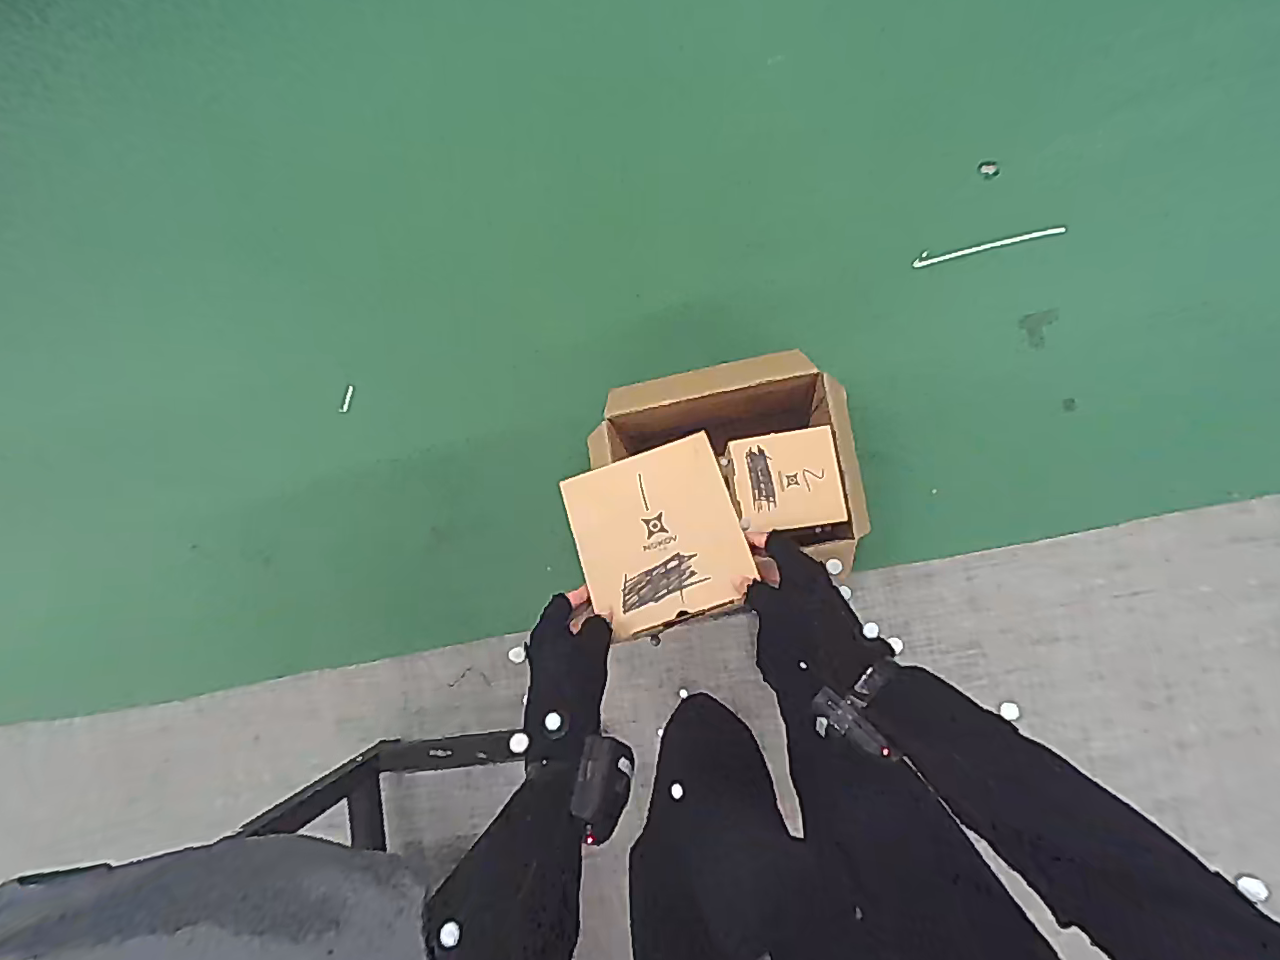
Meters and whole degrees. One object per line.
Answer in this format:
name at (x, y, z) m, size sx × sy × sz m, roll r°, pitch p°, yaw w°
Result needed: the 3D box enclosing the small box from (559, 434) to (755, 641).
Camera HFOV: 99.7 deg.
small box at (0.027, 0.075, 0.624) m, size 0.168 × 0.176 × 0.179 m, roll -19°, pitch 72°, yaw 4°
